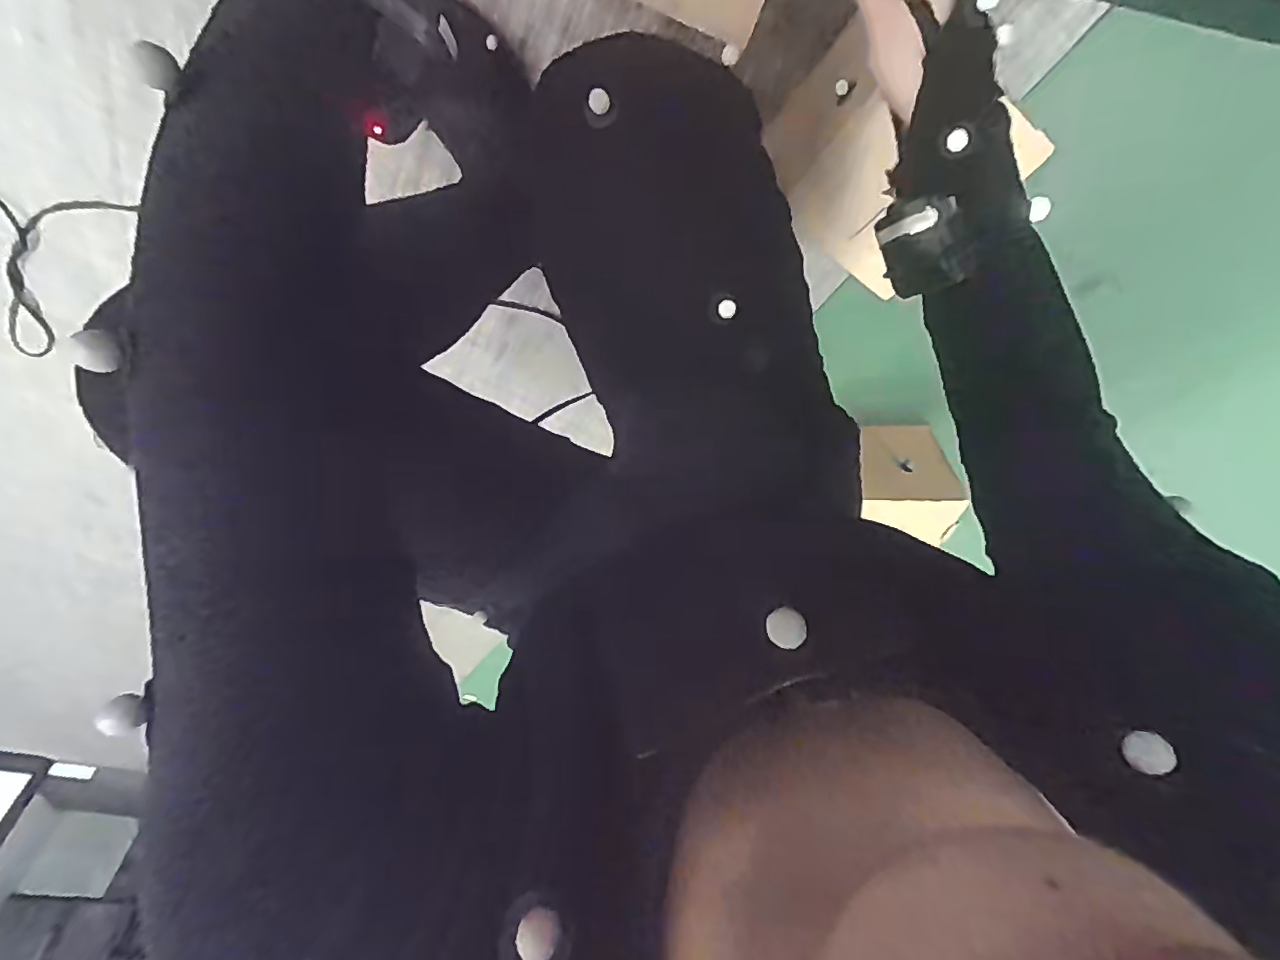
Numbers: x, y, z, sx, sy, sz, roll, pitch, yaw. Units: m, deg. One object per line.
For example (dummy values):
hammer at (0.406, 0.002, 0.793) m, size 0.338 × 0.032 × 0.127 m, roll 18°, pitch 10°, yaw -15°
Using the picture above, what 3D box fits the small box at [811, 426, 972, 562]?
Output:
small box at (0.406, 0.022, 0.910) m, size 0.179 × 0.176 × 0.168 m, roll -1°, pitch 138°, yaw 1°
